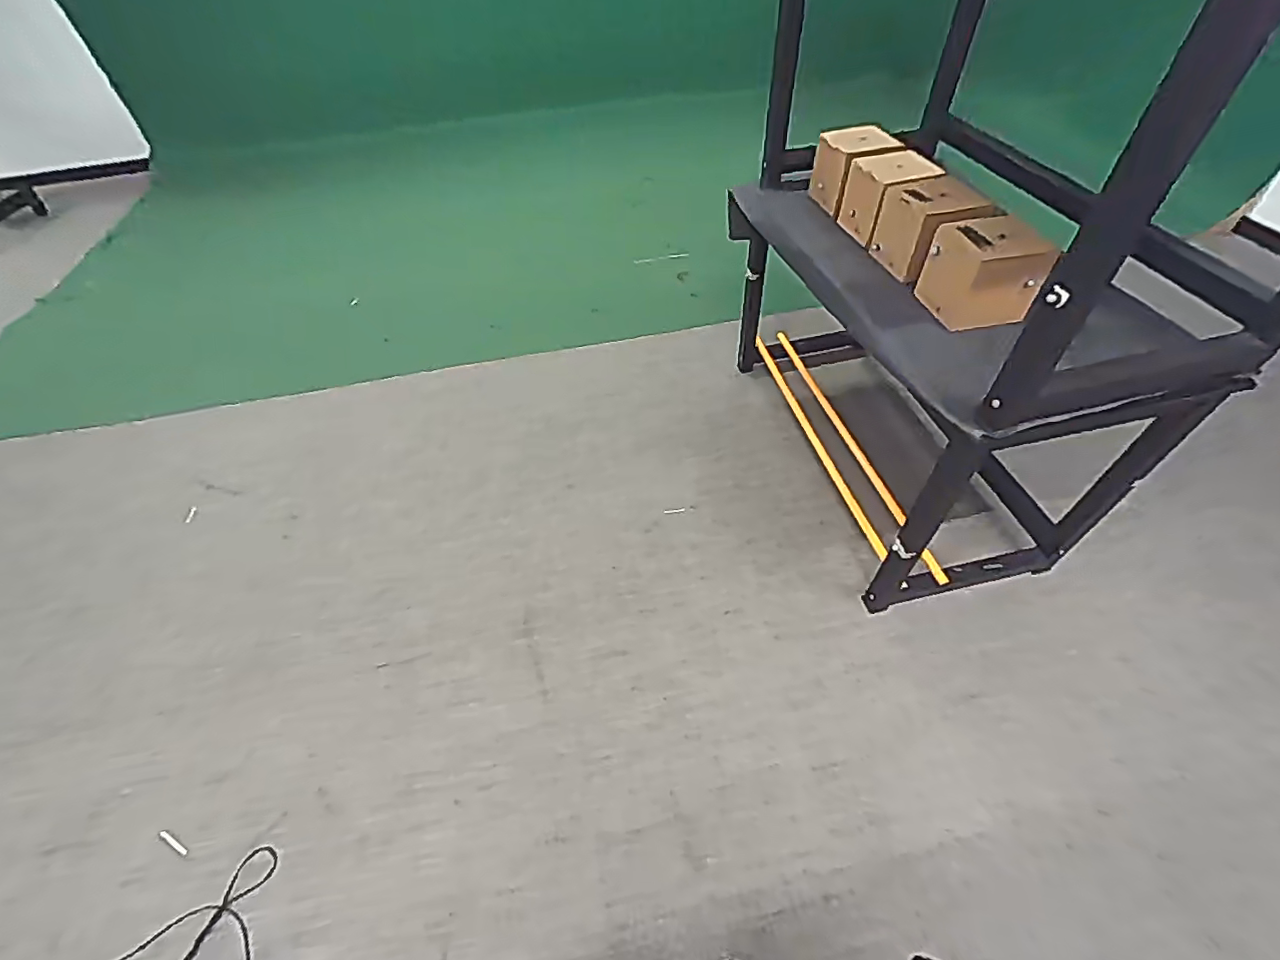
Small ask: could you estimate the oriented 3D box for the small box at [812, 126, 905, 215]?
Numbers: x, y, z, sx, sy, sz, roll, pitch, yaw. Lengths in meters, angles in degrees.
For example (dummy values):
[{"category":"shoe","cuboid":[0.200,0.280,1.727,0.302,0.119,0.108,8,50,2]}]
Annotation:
[{"category":"small box","cuboid":[0.626,-0.898,1.574,0.179,0.176,0.168,-13,51,-7]}]
